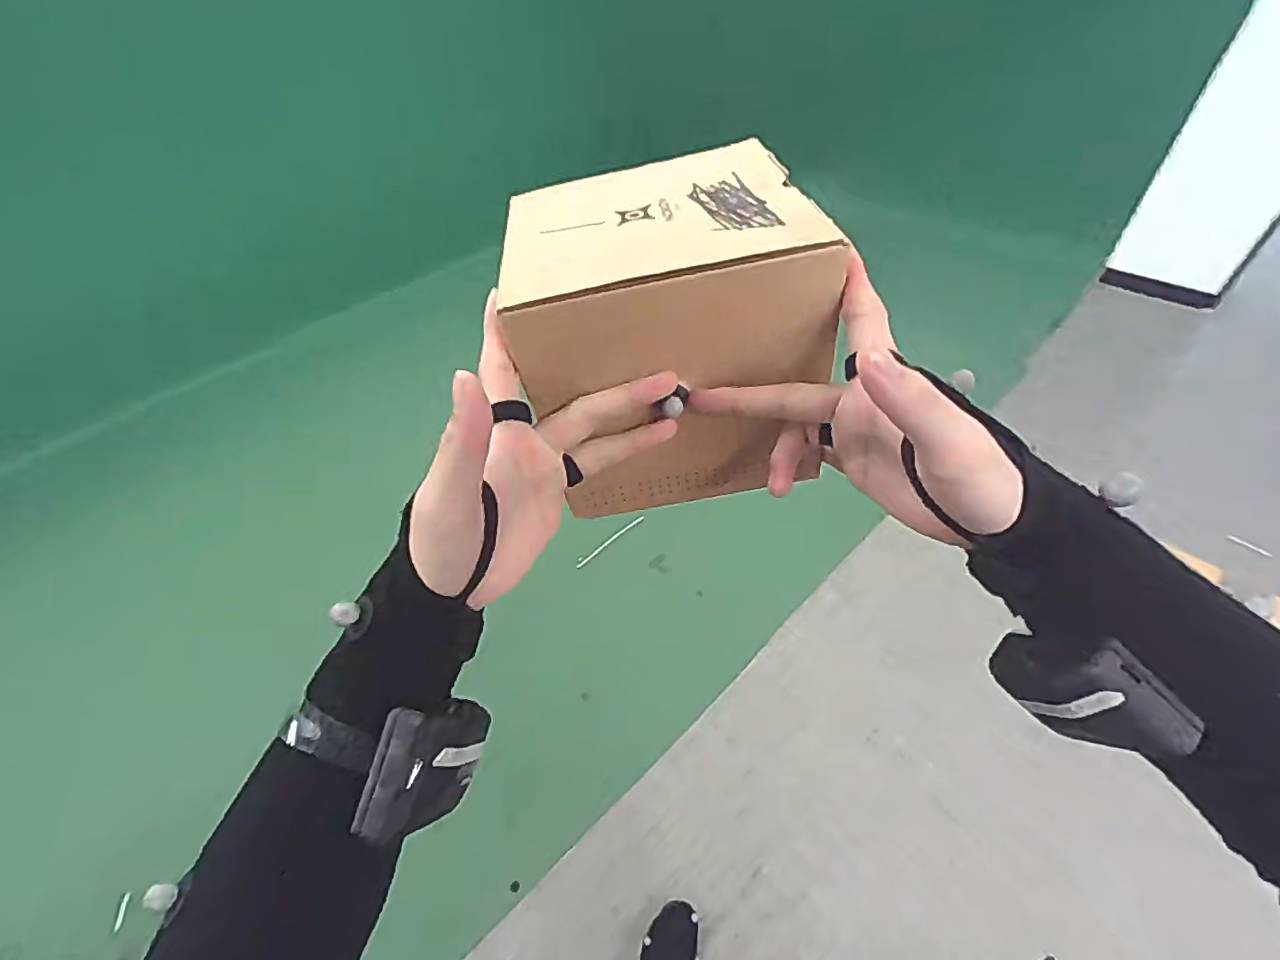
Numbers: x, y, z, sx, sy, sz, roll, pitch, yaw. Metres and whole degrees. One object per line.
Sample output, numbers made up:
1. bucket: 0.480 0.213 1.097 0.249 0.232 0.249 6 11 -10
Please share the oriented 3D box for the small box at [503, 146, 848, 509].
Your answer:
1. small box: 0.022 -0.102 0.378 0.179 0.176 0.168 -10 45 3
